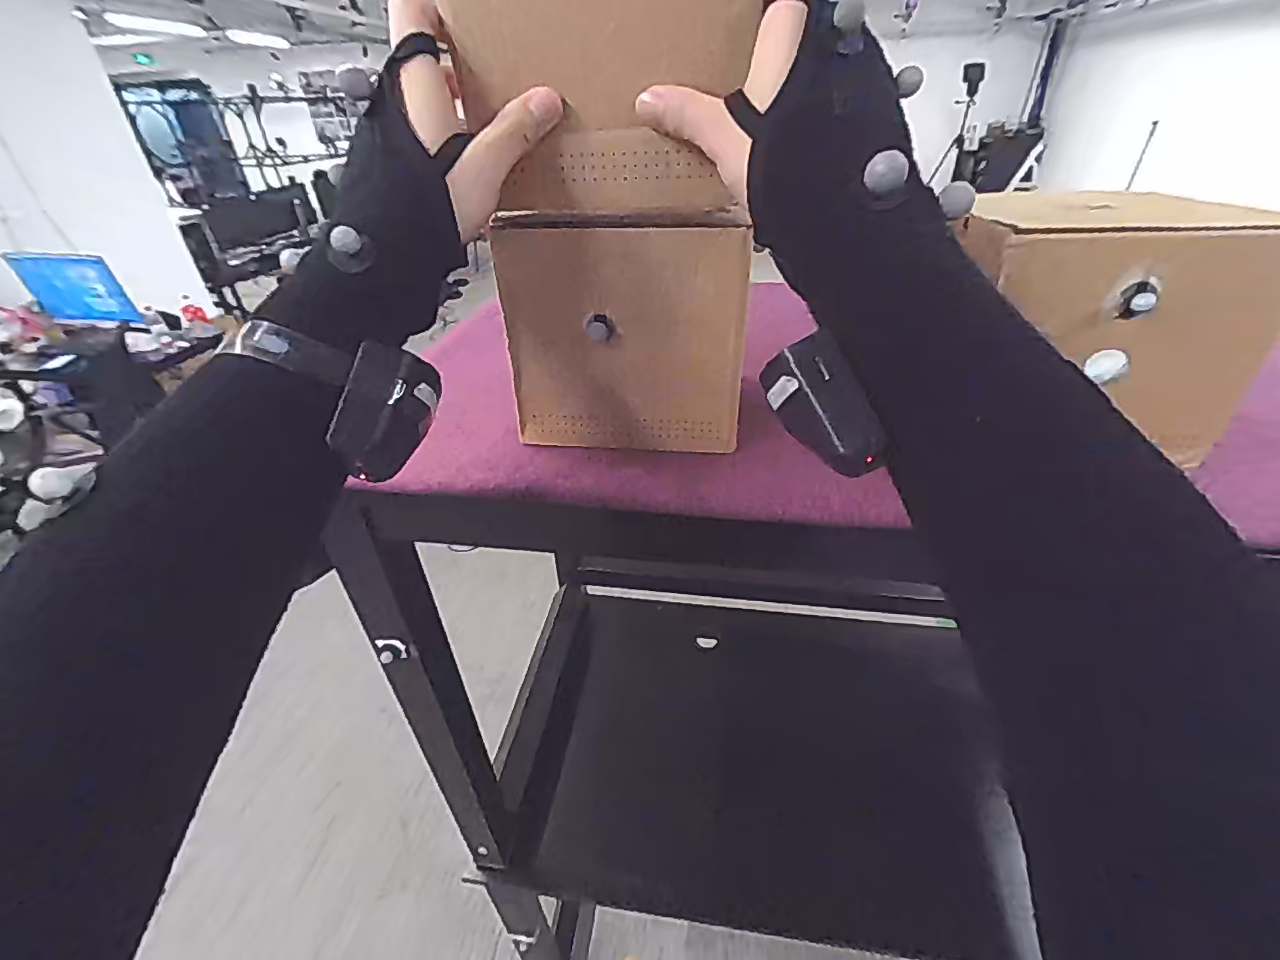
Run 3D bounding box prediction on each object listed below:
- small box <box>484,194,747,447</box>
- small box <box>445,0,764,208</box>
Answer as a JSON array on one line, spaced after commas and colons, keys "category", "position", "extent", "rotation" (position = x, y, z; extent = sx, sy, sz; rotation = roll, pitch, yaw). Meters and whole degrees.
[{"category": "small box", "position": [-0.004, -0.137, 0.453], "extent": [0.179, 0.176, 0.168], "rotation": [2, 32, 7]}, {"category": "small box", "position": [-0.012, -0.281, 0.345], "extent": [0.179, 0.176, 0.168], "rotation": [3, 40, 9]}]
